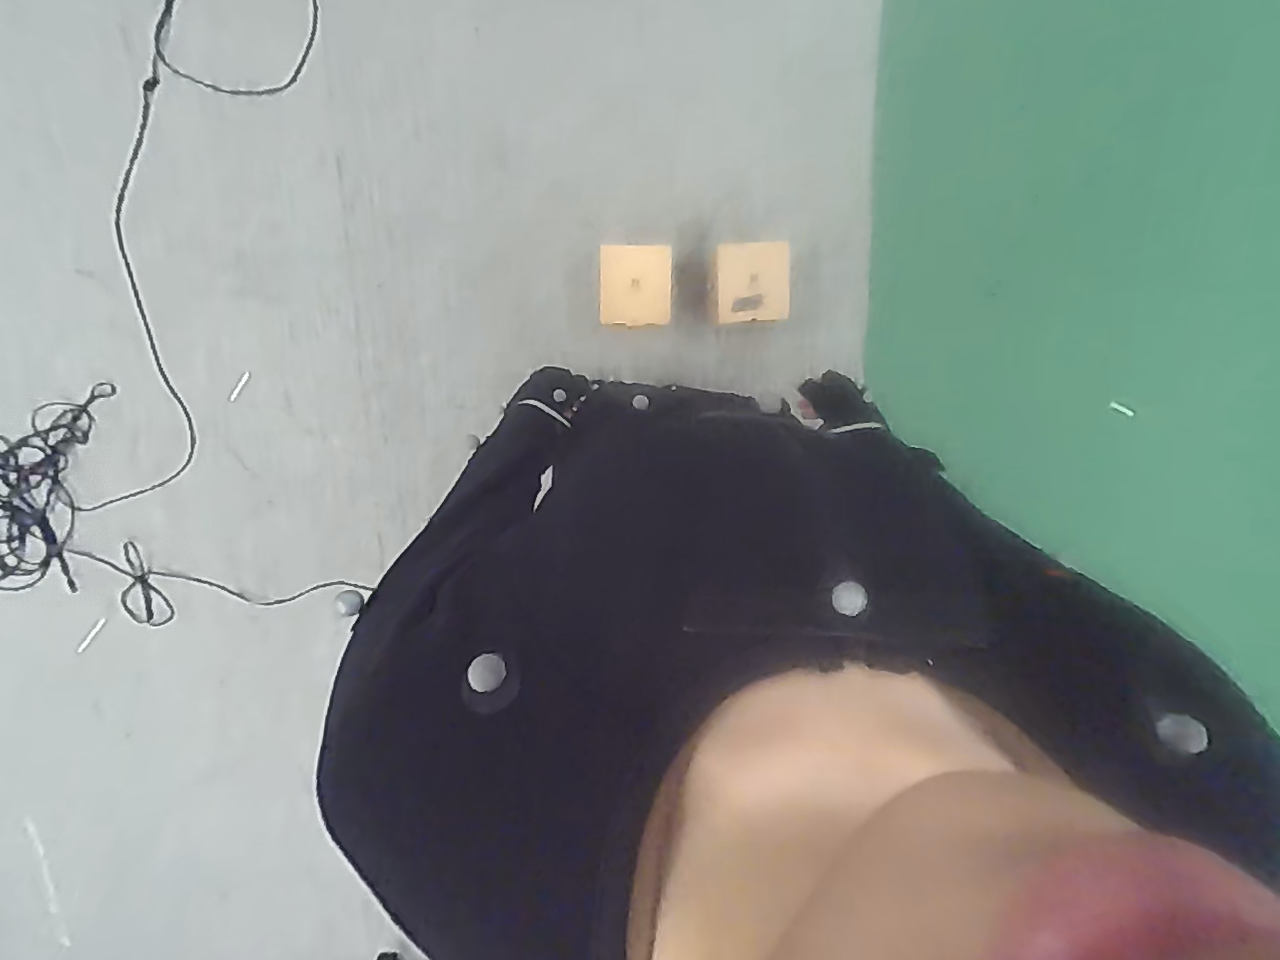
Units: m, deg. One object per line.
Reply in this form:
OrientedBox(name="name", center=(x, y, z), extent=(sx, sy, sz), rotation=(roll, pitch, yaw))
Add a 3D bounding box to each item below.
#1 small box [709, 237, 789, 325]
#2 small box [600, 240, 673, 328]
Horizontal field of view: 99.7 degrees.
OrientedBox(name="small box", center=(0.259, -0.473, 1.310), extent=(0.168, 0.176, 0.179), rotation=(-2, 100, 1))
OrientedBox(name="small box", center=(-0.010, -0.470, 1.314), extent=(0.168, 0.176, 0.179), rotation=(1, 101, 0))
